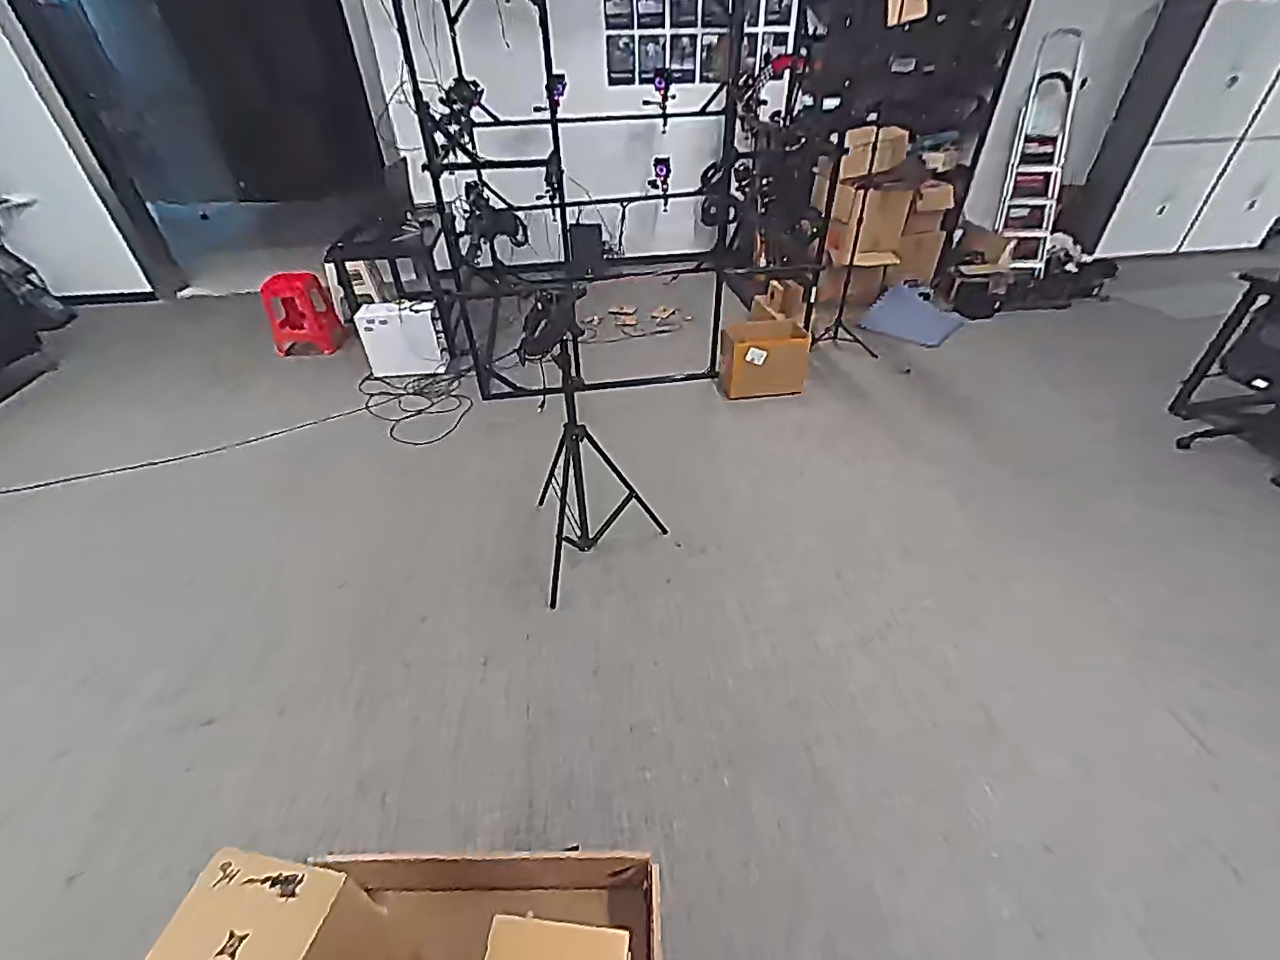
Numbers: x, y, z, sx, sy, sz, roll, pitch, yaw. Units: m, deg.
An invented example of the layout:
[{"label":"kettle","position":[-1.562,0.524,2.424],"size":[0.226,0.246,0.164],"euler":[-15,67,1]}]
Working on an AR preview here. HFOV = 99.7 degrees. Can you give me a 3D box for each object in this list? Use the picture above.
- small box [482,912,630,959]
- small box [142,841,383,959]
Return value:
[{"label":"small box","position":[-0.108,0.663,0.659],"size":[0.179,0.176,0.168],"euler":[4,37,4]},{"label":"small box","position":[-0.421,0.547,0.604],"size":[0.168,0.176,0.179],"euler":[6,38,10]}]
